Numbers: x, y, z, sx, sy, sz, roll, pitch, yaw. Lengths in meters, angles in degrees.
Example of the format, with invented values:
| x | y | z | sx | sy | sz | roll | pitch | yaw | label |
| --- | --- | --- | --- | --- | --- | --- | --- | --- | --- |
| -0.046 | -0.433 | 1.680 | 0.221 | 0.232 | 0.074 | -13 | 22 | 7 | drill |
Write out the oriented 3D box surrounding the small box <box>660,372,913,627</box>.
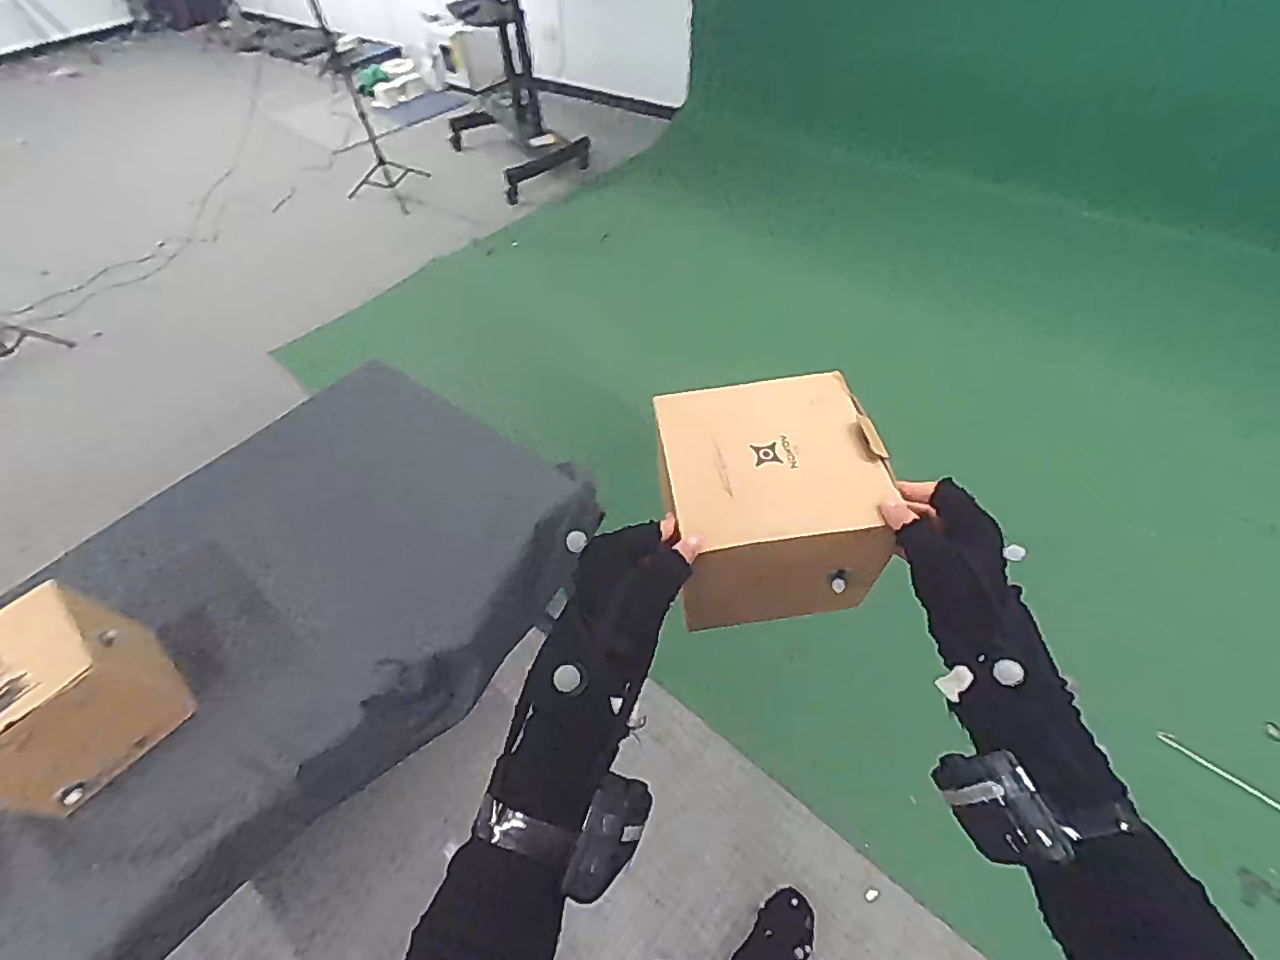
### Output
| x | y | z | sx | sy | sz | roll | pitch | yaw | label |
| --- | --- | --- | --- | --- | --- | --- | --- | --- | --- |
| 0.120 | 0.025 | 0.518 | 0.179 | 0.176 | 0.168 | -10 | 53 | 0 | small box |

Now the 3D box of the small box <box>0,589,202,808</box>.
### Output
| x | y | z | sx | sy | sz | roll | pitch | yaw | label |
| --- | --- | --- | --- | --- | --- | --- | --- | --- | --- |
| -0.707 | 0.276 | 0.675 | 0.179 | 0.176 | 0.168 | 31 | 60 | 27 | small box |
